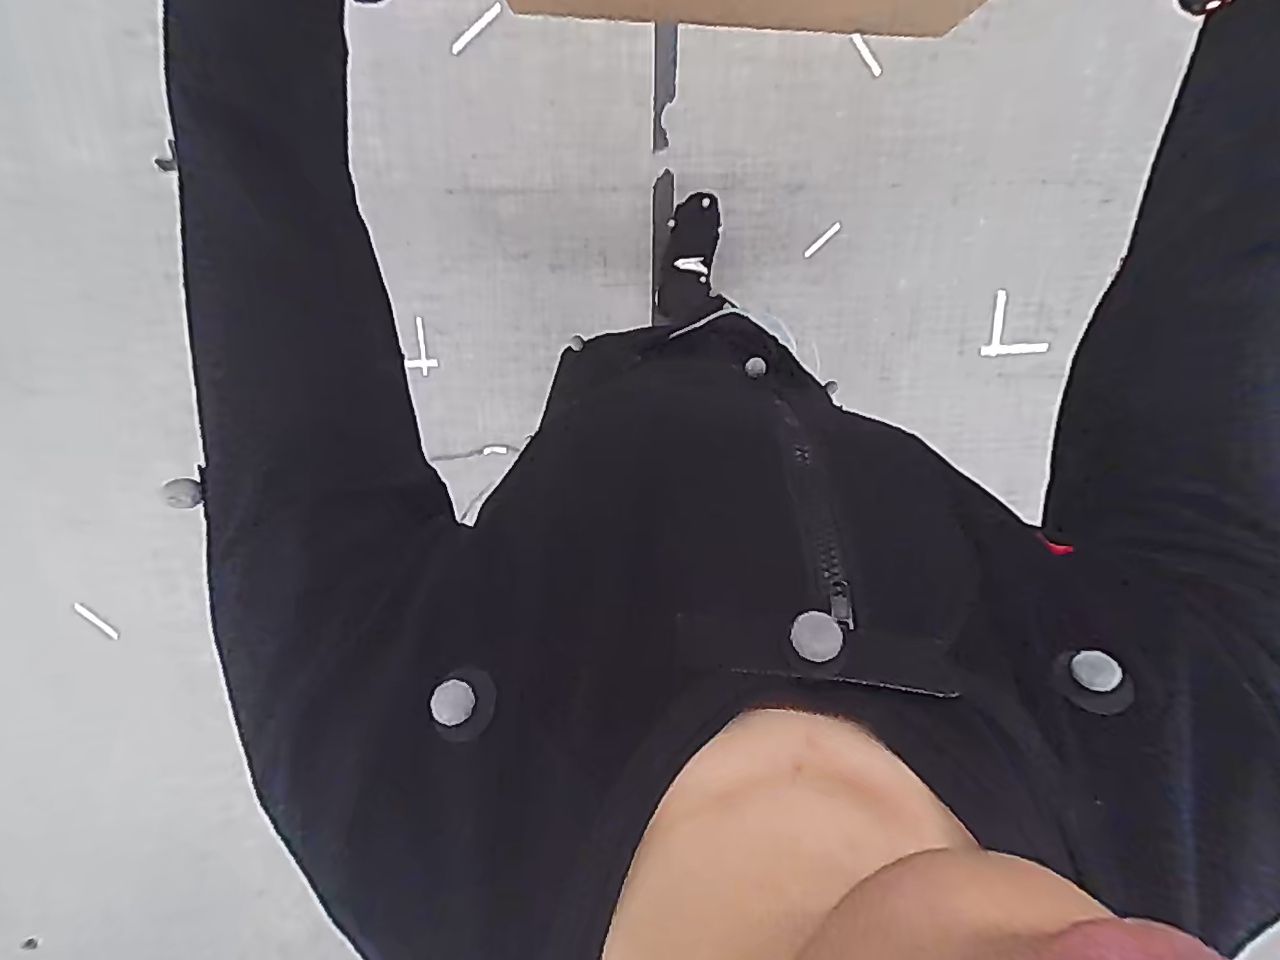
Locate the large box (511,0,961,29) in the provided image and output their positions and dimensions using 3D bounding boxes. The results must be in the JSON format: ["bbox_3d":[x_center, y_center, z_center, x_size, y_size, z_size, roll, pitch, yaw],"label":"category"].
[{"bbox_3d":[0.085,-0.520,0.318,0.408,0.320,0.320,2,112,-1],"label":"large box"}]
